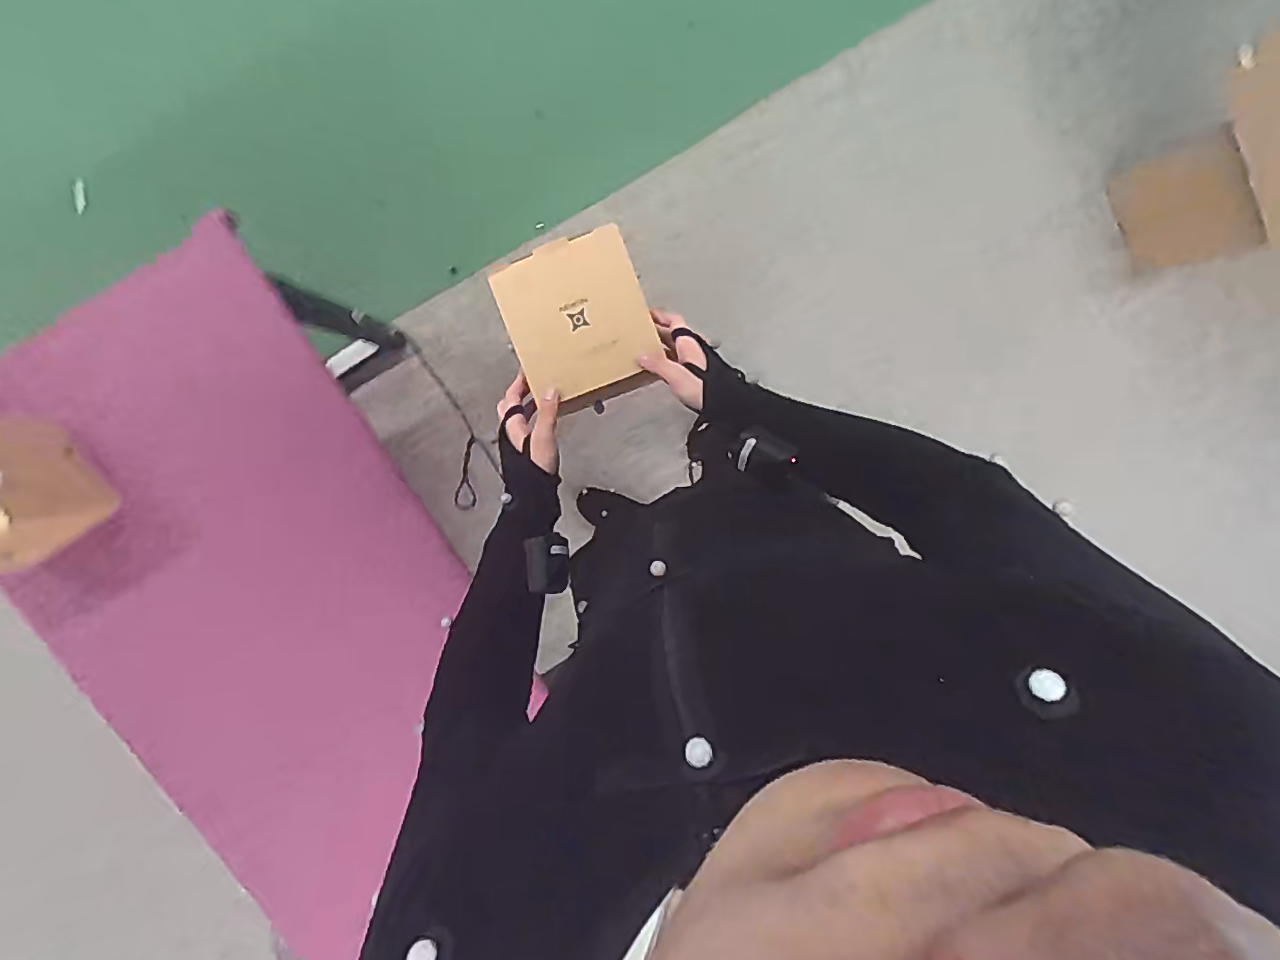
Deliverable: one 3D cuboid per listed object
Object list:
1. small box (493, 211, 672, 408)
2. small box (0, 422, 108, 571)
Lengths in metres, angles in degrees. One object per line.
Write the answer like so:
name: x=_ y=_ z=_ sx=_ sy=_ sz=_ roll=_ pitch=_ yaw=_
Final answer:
small box: x=-0.068 y=-0.204 z=0.699 sx=0.168 sy=0.176 sz=0.179 roll=-20 pitch=93 yaw=0
small box: x=-0.927 y=0.032 z=0.753 sx=0.179 sy=0.176 sz=0.168 roll=-34 pitch=98 yaw=1
